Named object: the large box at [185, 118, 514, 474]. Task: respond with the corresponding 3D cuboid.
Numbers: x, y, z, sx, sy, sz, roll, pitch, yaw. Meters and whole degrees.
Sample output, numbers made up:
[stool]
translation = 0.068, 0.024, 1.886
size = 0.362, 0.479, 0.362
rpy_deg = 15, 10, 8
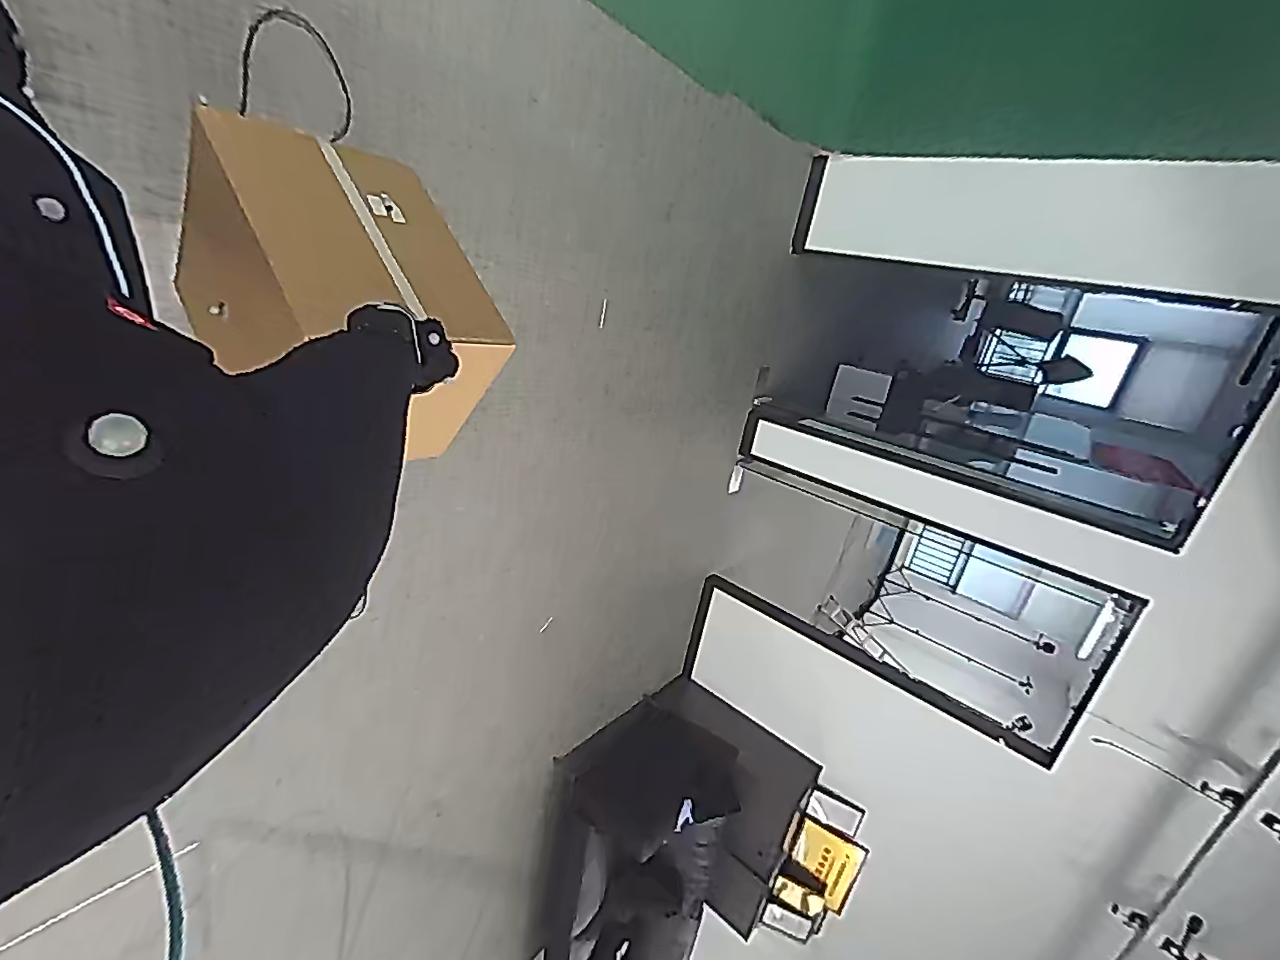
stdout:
[large box]
translation = -0.484, -0.272, 0.887
size = 0.320, 0.408, 0.320
rpy_deg = -14, 157, -51
